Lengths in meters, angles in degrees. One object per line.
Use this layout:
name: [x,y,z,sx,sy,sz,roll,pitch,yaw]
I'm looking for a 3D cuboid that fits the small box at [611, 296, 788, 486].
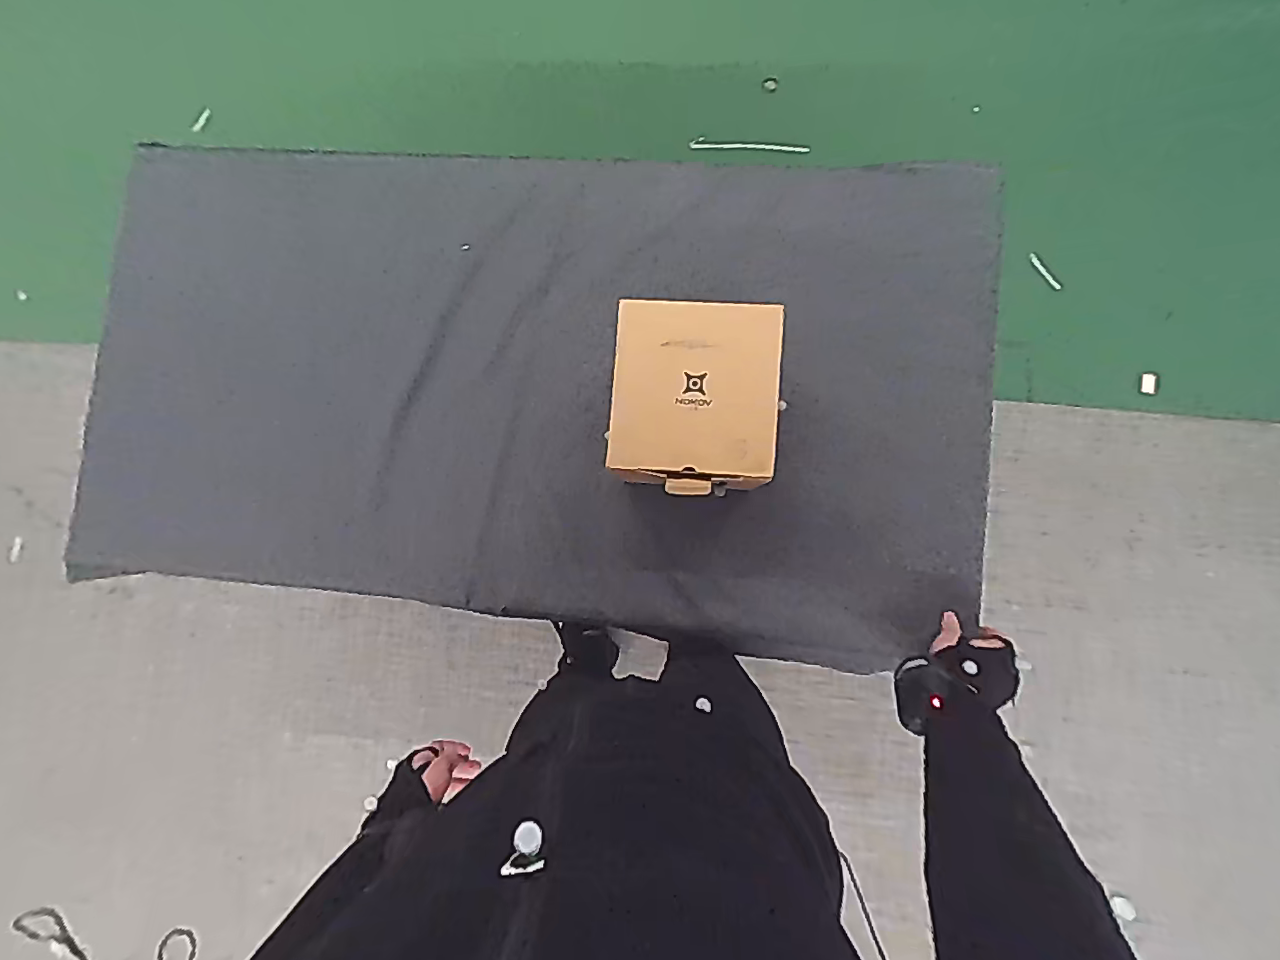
small box: [0.066,-0.089,0.616,0.168,0.176,0.179,4,85,4]
